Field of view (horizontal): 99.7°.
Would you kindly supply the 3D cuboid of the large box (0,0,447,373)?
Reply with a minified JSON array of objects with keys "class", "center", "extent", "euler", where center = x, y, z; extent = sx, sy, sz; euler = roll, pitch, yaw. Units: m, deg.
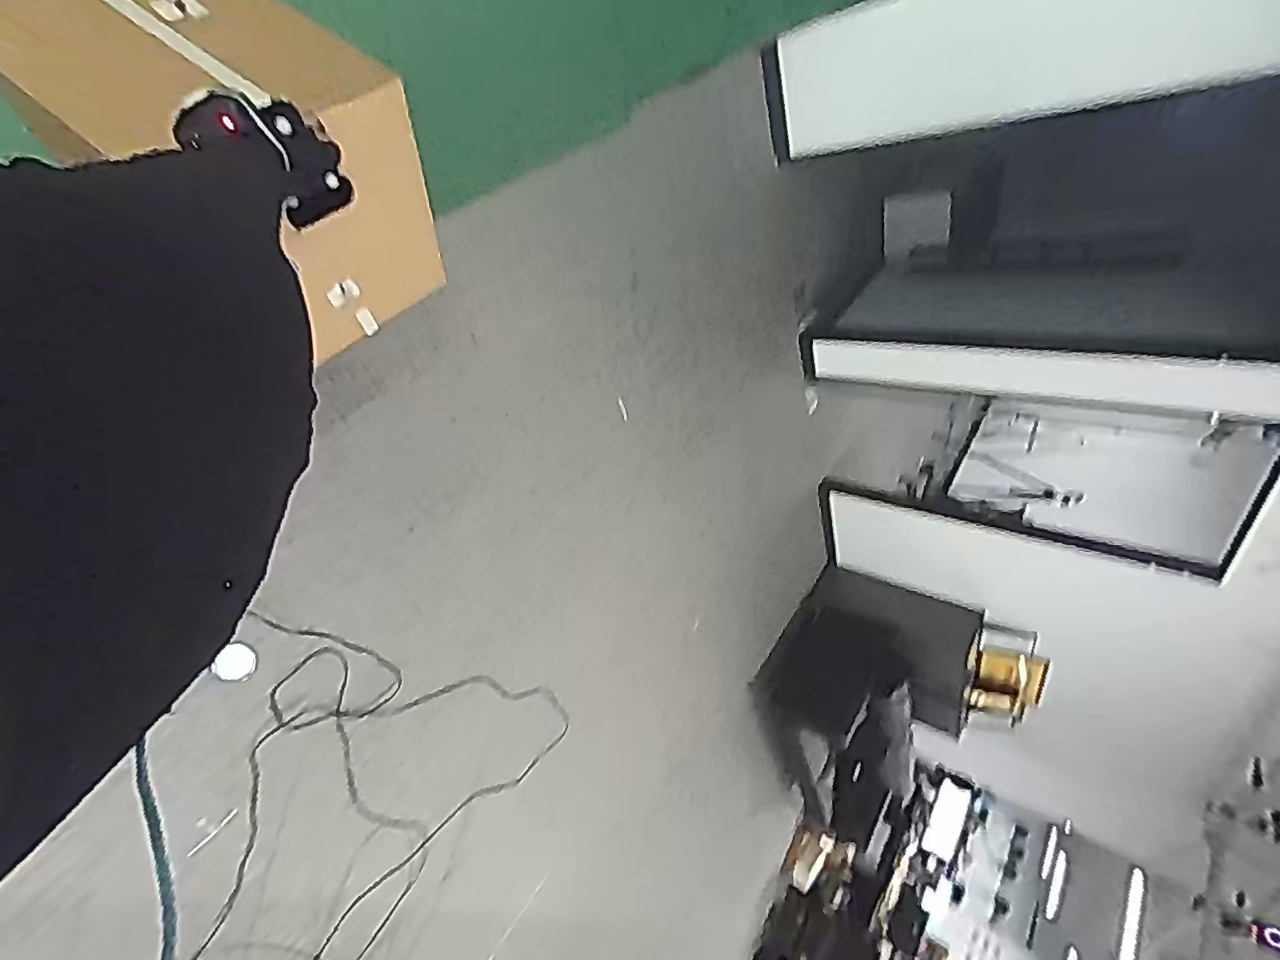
[{"class":"large box","center":[-0.558,-0.432,0.779],"extent":[0.320,0.408,0.320],"euler":[-47,165,-28]}]
